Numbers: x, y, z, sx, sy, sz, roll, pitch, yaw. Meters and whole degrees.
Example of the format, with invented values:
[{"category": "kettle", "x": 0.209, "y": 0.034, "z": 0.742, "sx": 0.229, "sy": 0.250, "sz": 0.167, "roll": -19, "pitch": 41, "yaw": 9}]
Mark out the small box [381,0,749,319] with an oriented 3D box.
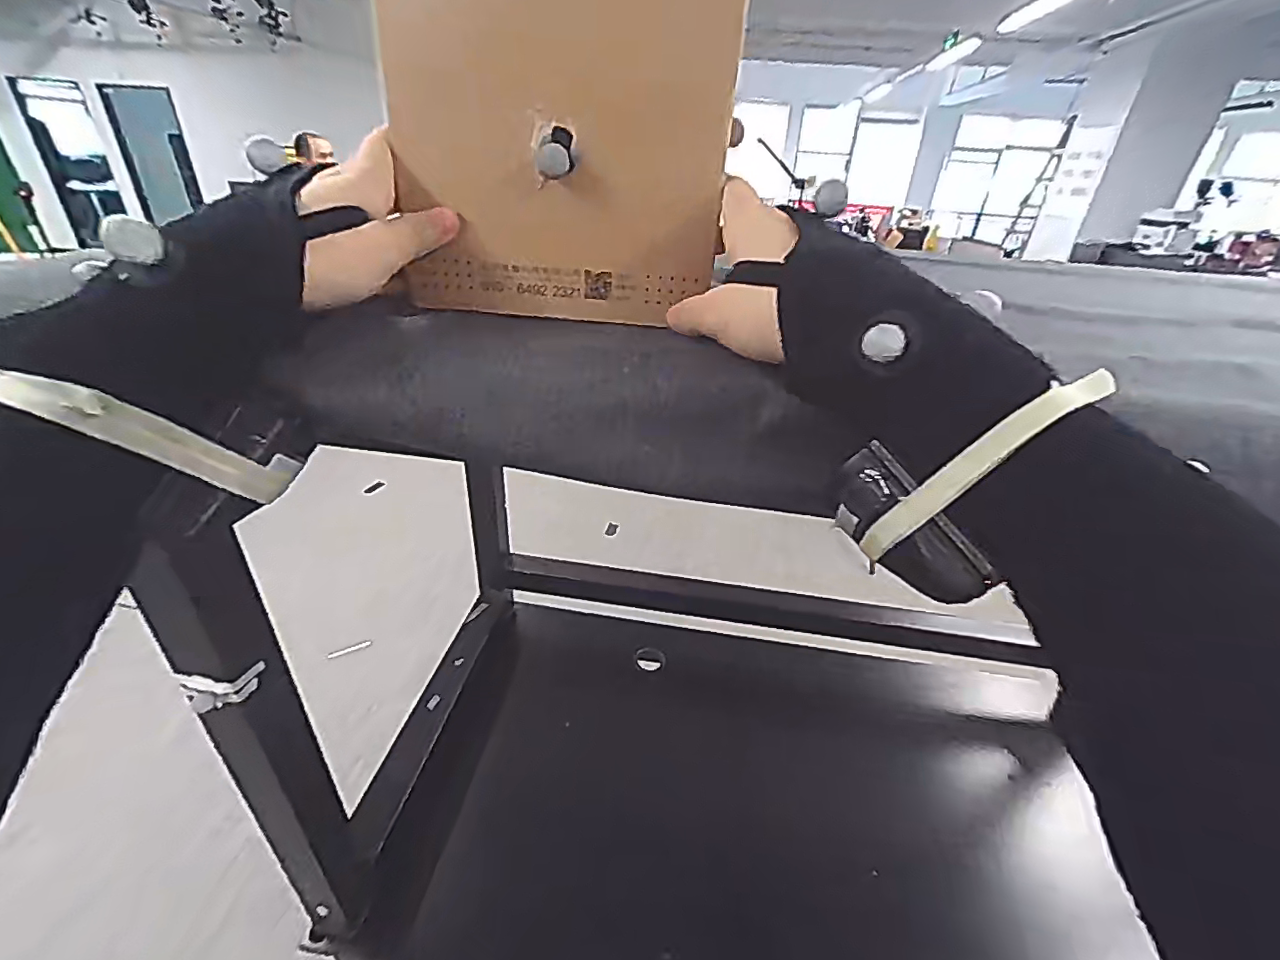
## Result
[{"category": "small box", "x": -0.030, "y": -0.203, "z": 0.329, "sx": 0.168, "sy": 0.176, "sz": 0.179, "roll": 6, "pitch": 29, "yaw": 1}]
